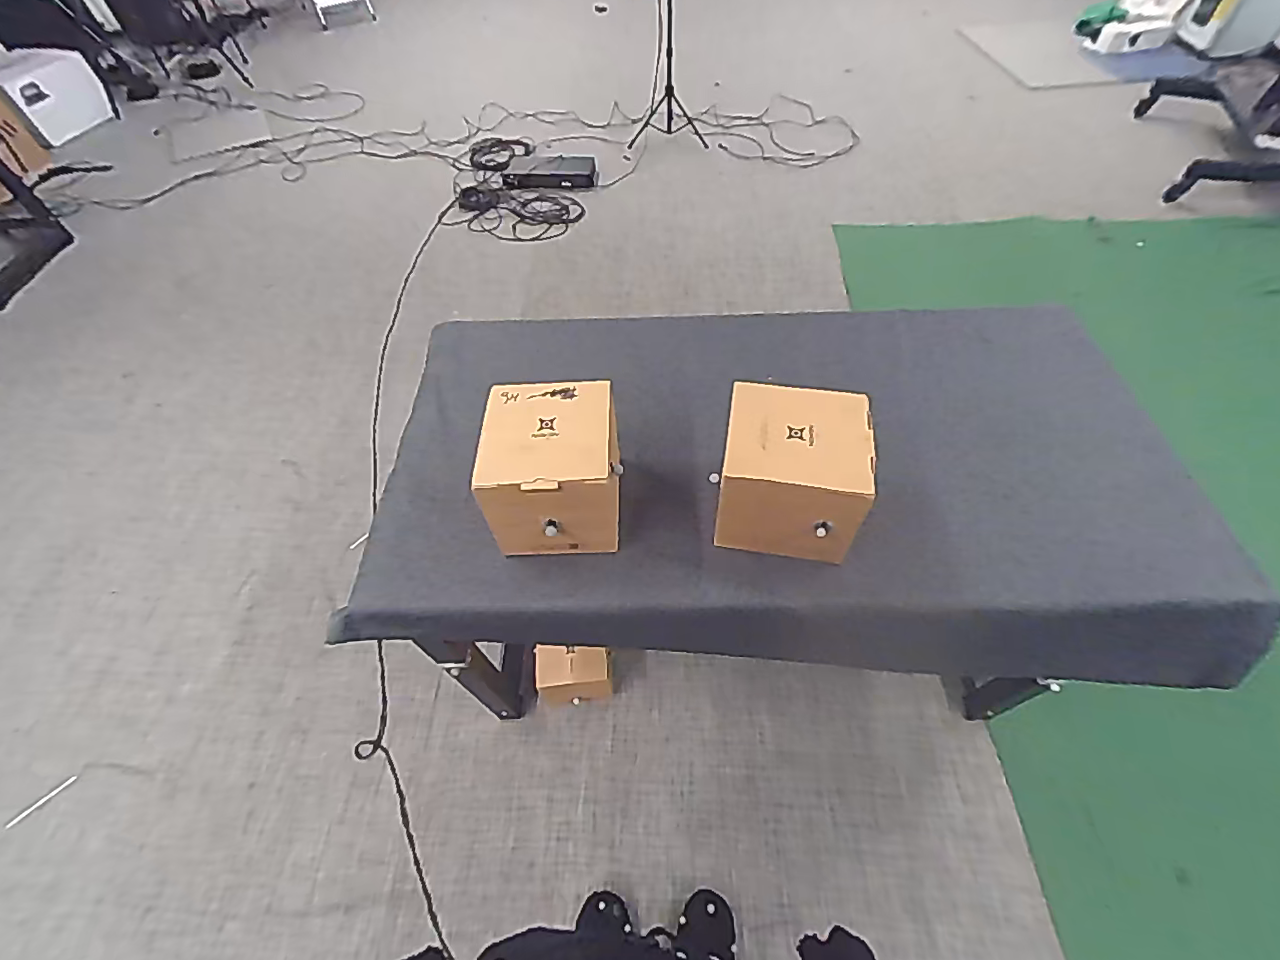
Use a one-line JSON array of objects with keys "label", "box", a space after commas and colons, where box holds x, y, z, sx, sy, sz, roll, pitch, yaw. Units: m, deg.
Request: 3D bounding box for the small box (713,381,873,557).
[{"label": "small box", "box": [0.201, -0.010, 0.741, 0.179, 0.176, 0.168, 7, 54, 9]}]

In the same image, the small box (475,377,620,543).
[{"label": "small box", "box": [-0.115, -0.021, 0.757, 0.168, 0.176, 0.179, -1, 54, 1]}]
